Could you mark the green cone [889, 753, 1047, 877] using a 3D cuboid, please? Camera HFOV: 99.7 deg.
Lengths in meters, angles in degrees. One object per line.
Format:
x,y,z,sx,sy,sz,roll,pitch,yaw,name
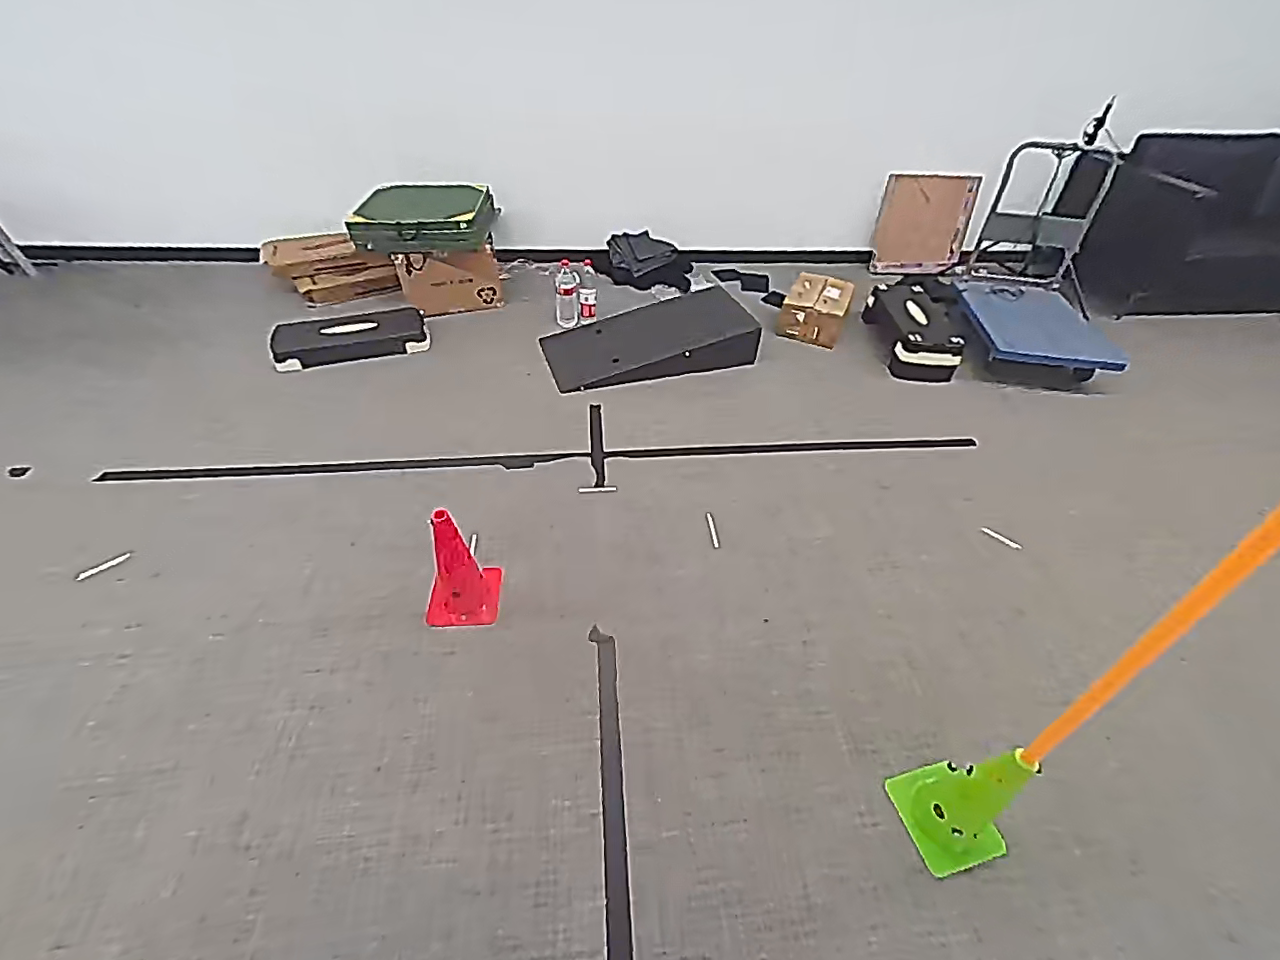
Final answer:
0.706,0.641,1.110,0.200,0.368,0.202,-10,46,-13,green cone
